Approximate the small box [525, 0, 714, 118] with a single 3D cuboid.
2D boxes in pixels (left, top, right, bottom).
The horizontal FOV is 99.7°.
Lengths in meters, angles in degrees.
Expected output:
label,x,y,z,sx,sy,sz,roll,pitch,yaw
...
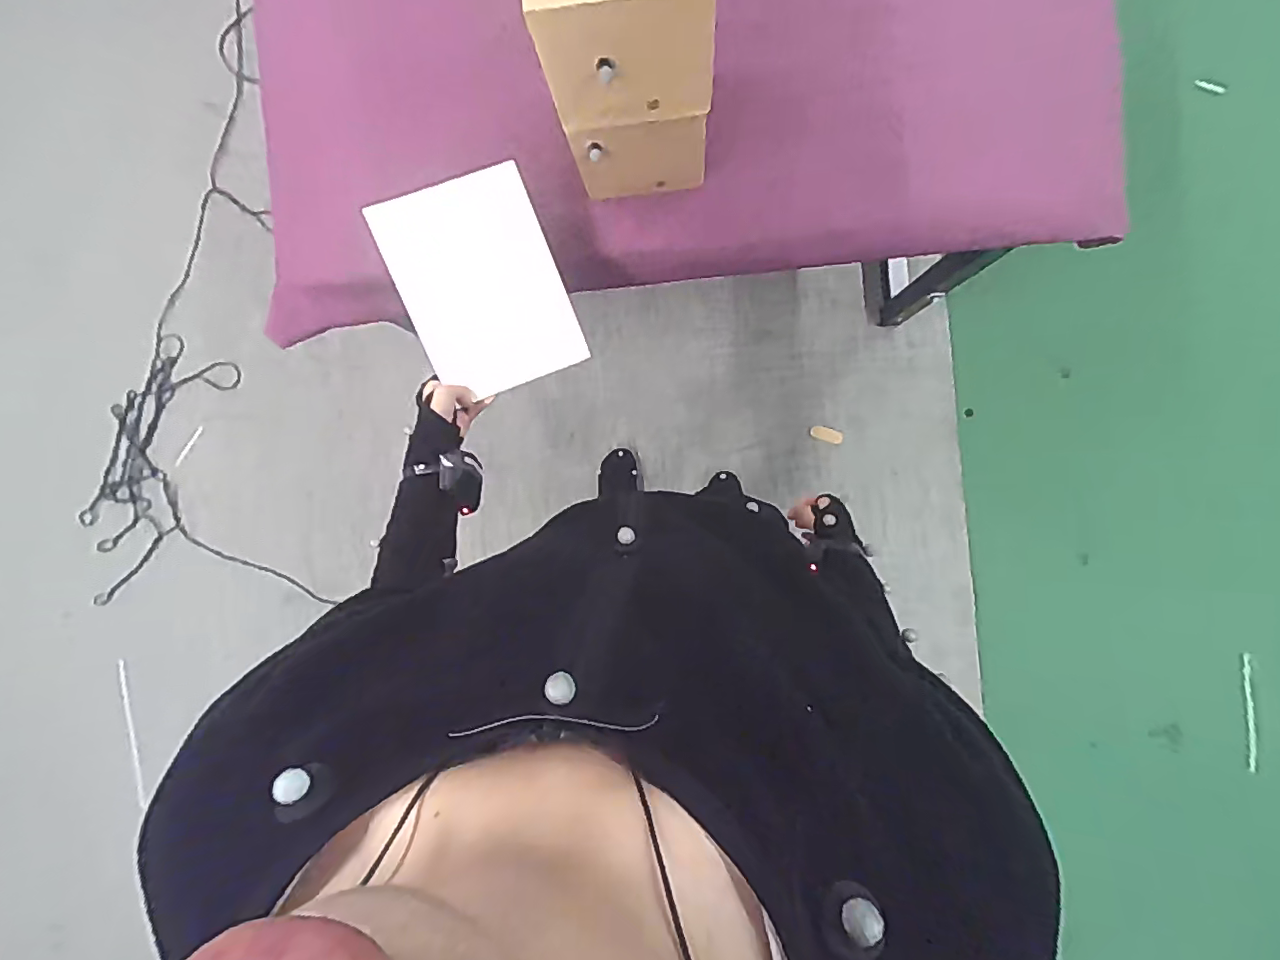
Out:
label,x,y,z,sx,sy,sz,roll,pitch,yaw
small box,-0.014,-0.491,0.531,0.168,0.176,0.179,-4,90,5
